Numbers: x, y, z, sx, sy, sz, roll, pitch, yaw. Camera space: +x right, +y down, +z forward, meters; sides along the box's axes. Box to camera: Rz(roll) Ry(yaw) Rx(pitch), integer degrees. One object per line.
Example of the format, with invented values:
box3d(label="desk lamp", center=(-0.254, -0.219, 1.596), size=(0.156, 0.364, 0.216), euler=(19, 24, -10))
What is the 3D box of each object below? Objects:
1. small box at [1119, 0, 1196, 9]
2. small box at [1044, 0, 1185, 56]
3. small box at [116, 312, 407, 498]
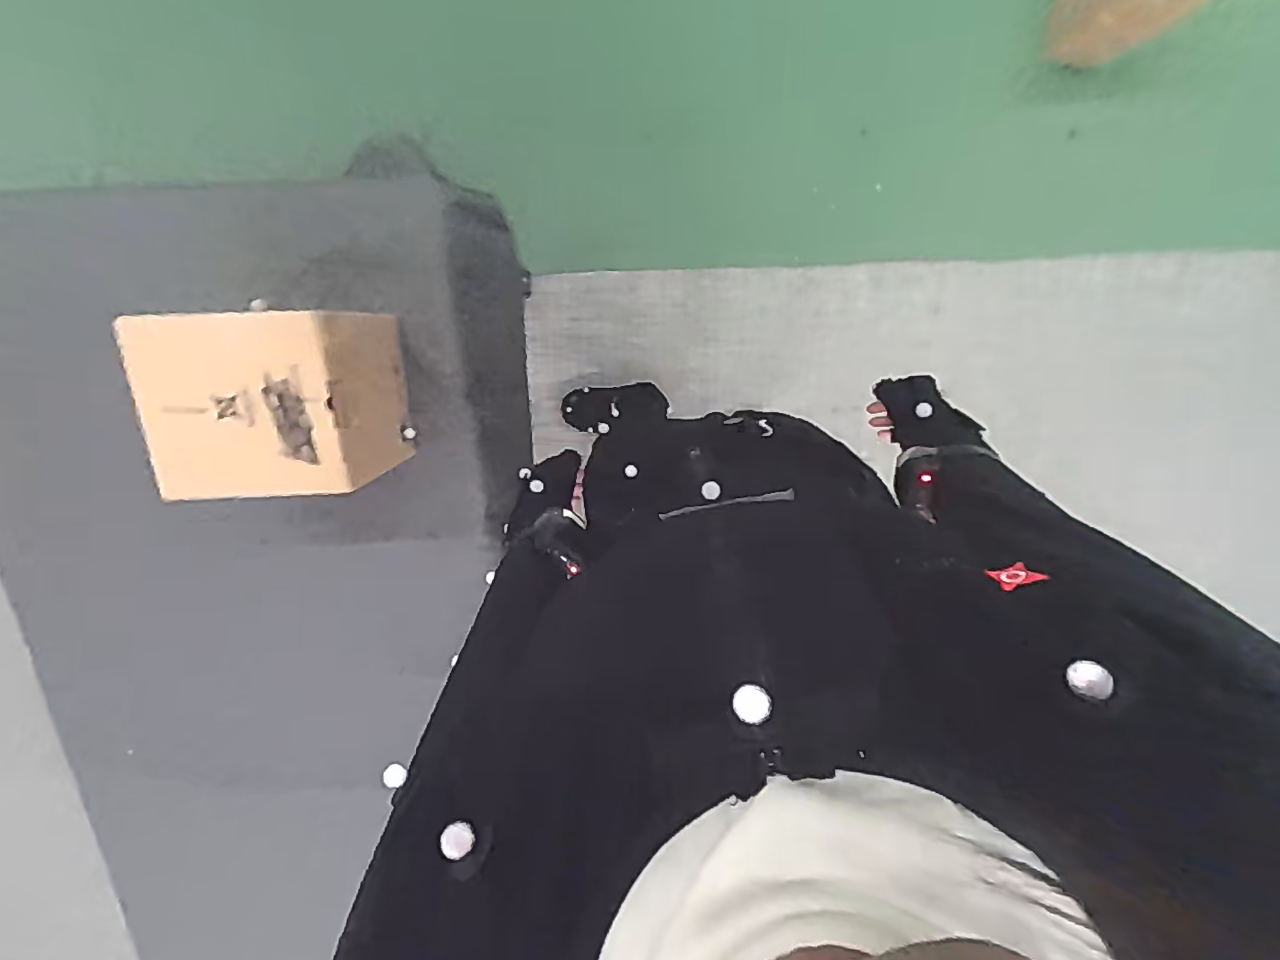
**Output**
box3d(label="small box", center=(0.988, -0.983, 0.963), size=(0.168, 0.176, 0.179), euler=(2, 106, -4))
box3d(label="small box", center=(0.978, -1.011, 1.105), size=(0.168, 0.176, 0.179), euler=(3, 104, -6))
box3d(label="small box", center=(-0.360, -0.086, 0.560), size=(0.179, 0.176, 0.168), euler=(-2, 105, 0))
